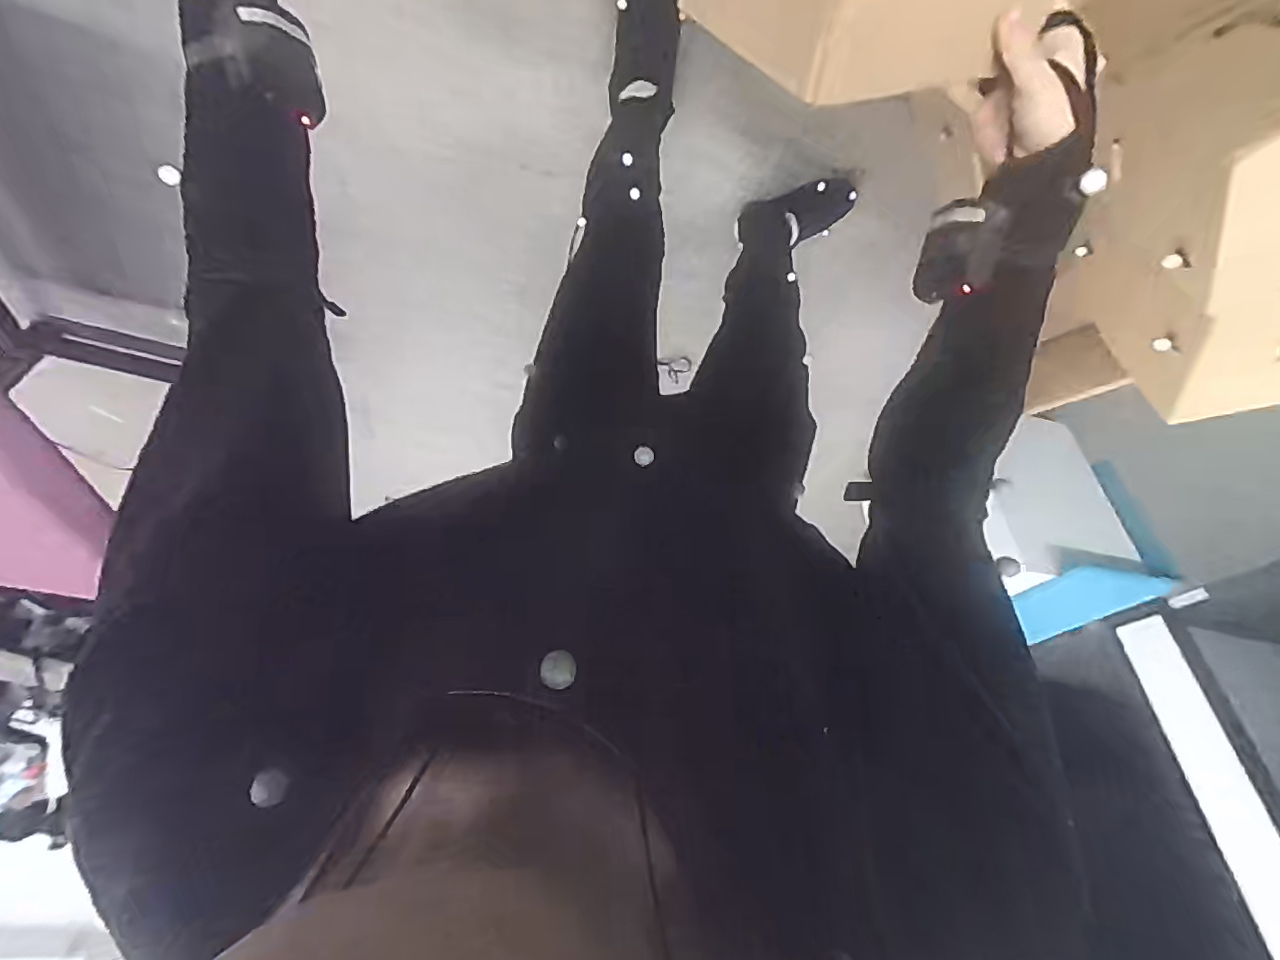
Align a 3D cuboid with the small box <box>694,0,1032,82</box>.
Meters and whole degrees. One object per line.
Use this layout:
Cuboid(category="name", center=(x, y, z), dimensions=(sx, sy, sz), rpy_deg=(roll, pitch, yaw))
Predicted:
Cuboid(category="small box", center=(0.137, -0.366, 0.313), dimensions=(0.179, 0.176, 0.168), rpy_deg=(-20, 150, -16))
